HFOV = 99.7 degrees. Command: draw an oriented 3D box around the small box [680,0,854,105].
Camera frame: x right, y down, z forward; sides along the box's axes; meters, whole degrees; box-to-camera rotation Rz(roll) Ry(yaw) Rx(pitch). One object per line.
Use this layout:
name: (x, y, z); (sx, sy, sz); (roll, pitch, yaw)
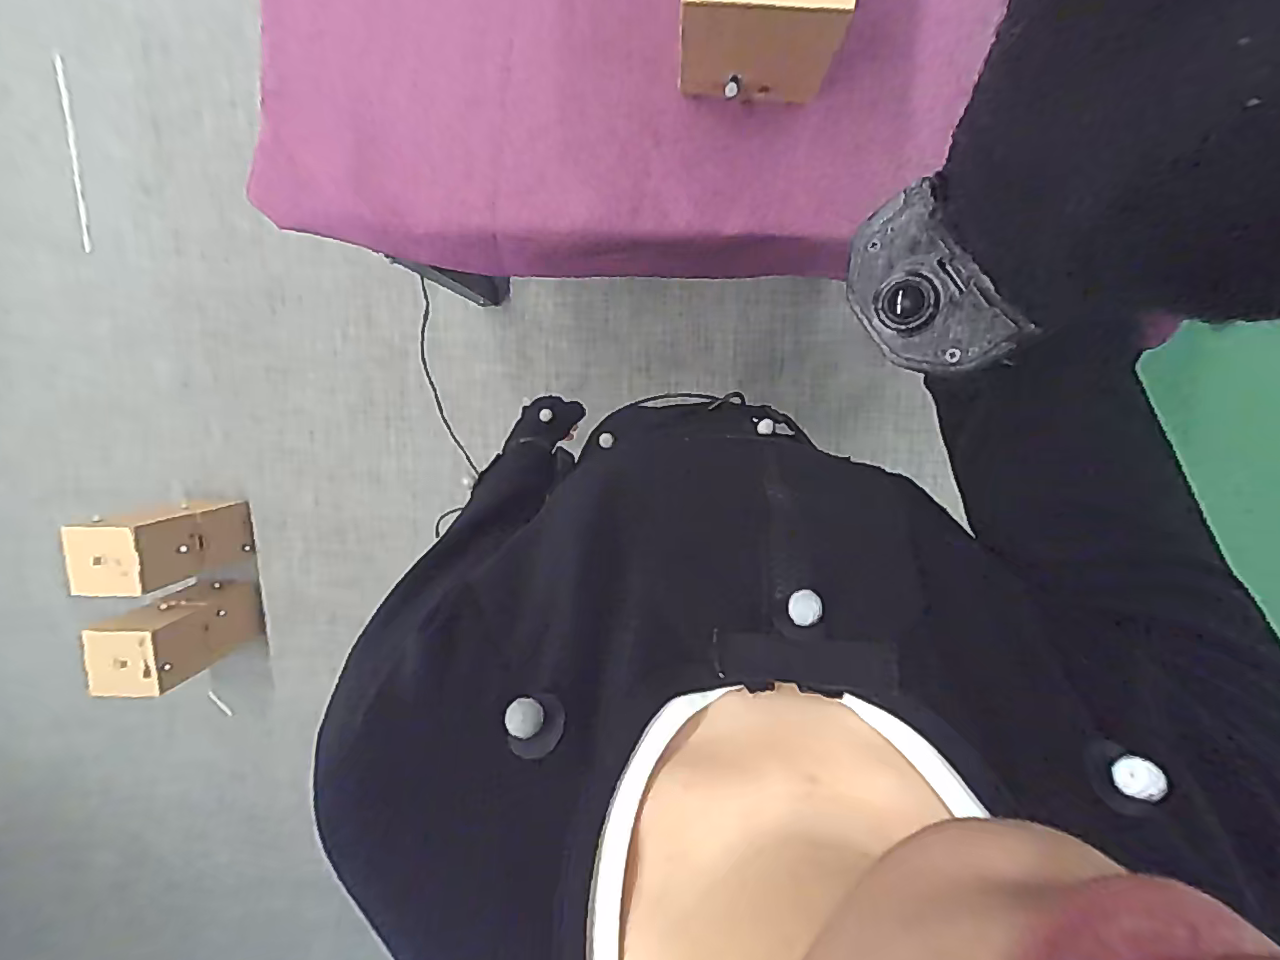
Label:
small box: (0.133, -0.548, 0.581); (0.168, 0.176, 0.179); (6, 99, 3)

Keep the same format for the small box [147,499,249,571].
small box: (-1.204, 0.144, 1.470); (0.179, 0.176, 0.168); (0, 98, 3)

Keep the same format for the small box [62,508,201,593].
small box: (-1.219, 0.165, 1.308); (0.179, 0.176, 0.168); (0, 98, 3)
